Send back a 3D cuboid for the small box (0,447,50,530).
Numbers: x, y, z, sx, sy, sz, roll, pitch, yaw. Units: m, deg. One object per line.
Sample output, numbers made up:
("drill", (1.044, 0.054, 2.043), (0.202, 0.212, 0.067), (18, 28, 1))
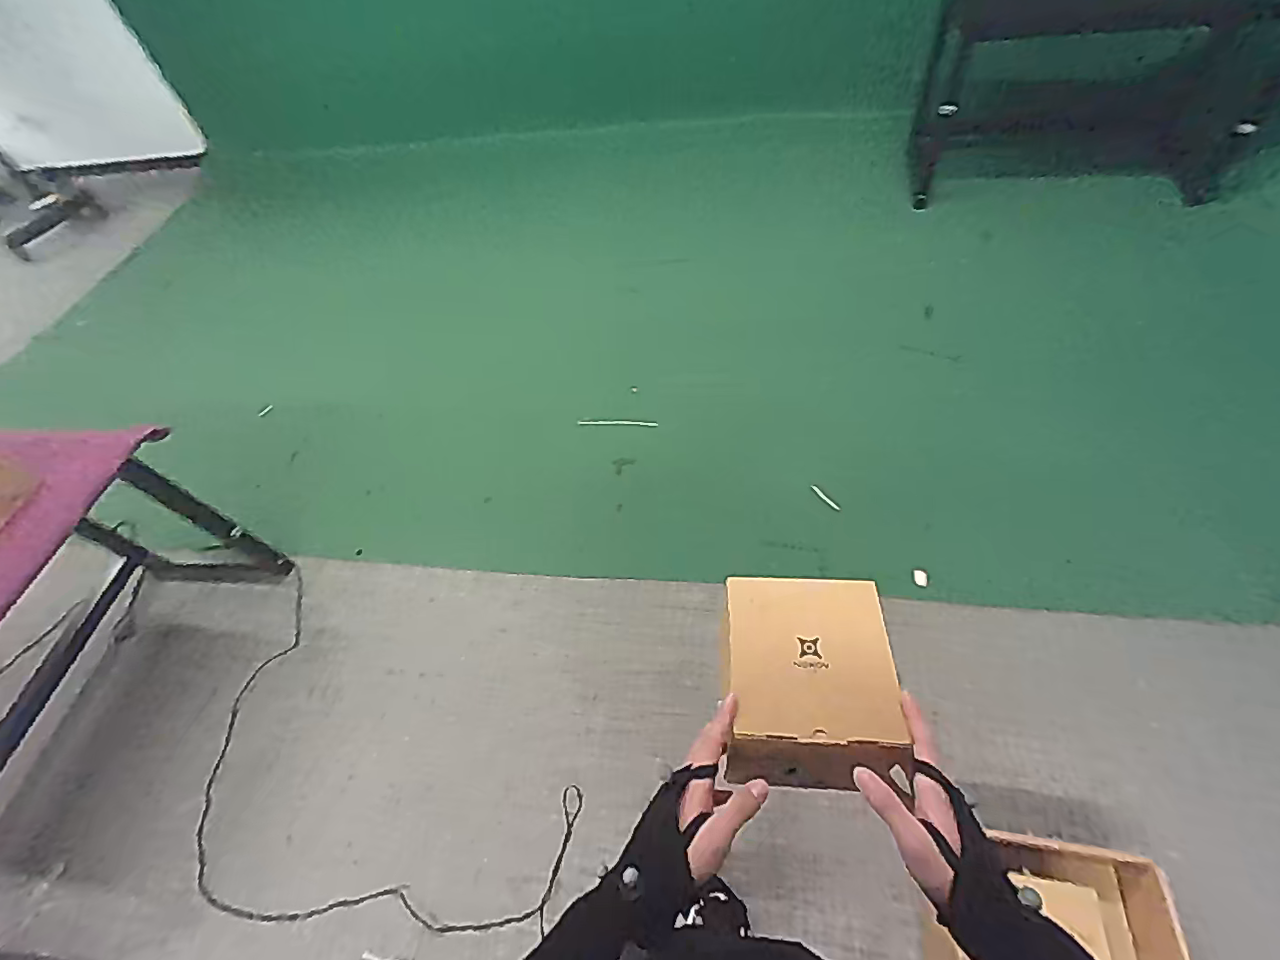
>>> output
("small box", (-1.497, 0.007, 1.188), (0.179, 0.176, 0.168), (3, 57, 12))
